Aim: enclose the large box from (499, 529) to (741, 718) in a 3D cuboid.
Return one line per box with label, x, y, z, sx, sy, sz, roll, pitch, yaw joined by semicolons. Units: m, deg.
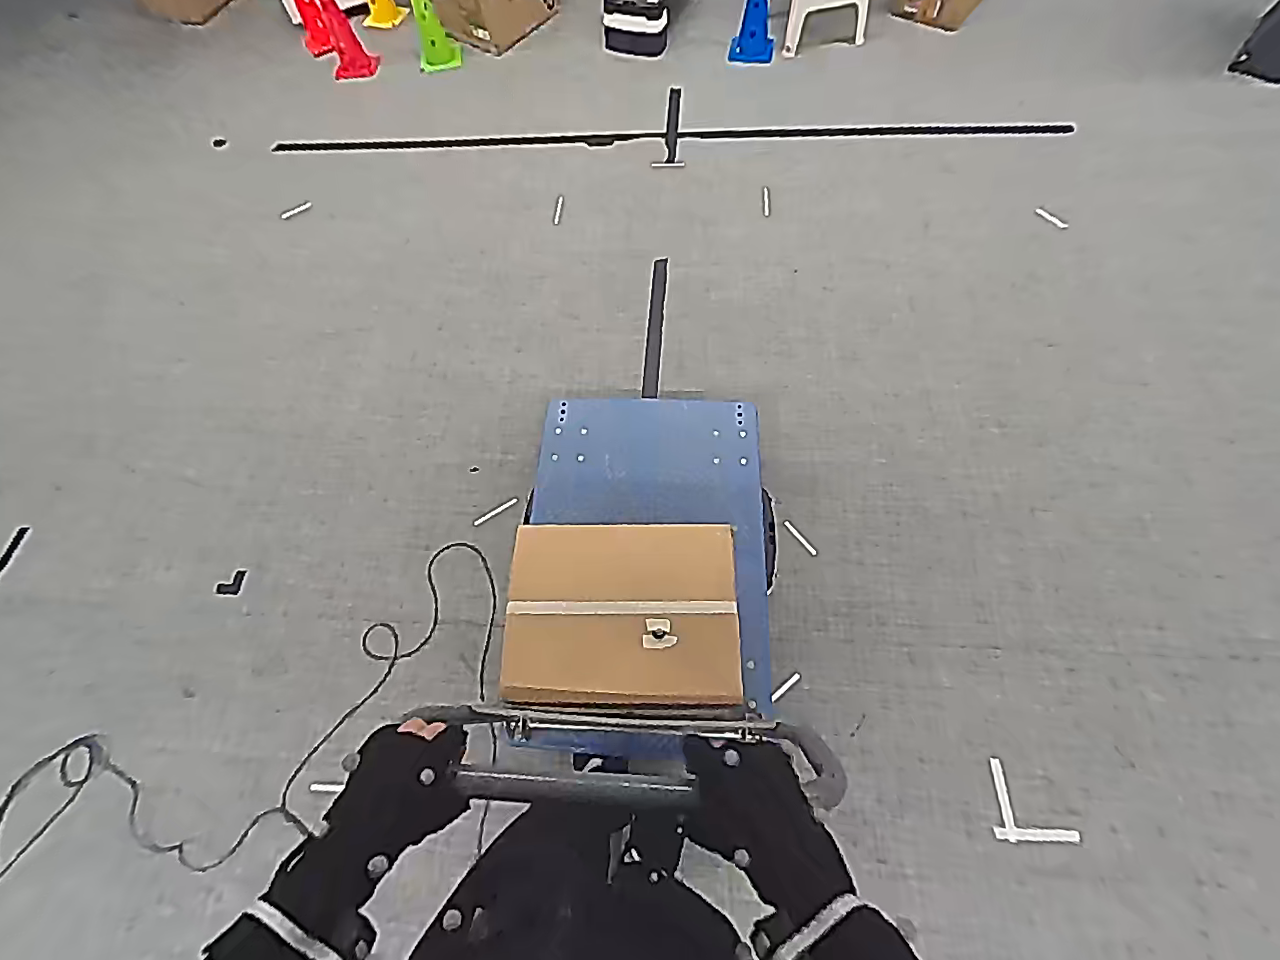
large box;-0.030;0.297;1.074;0.408;0.320;0.320;0;65;2
